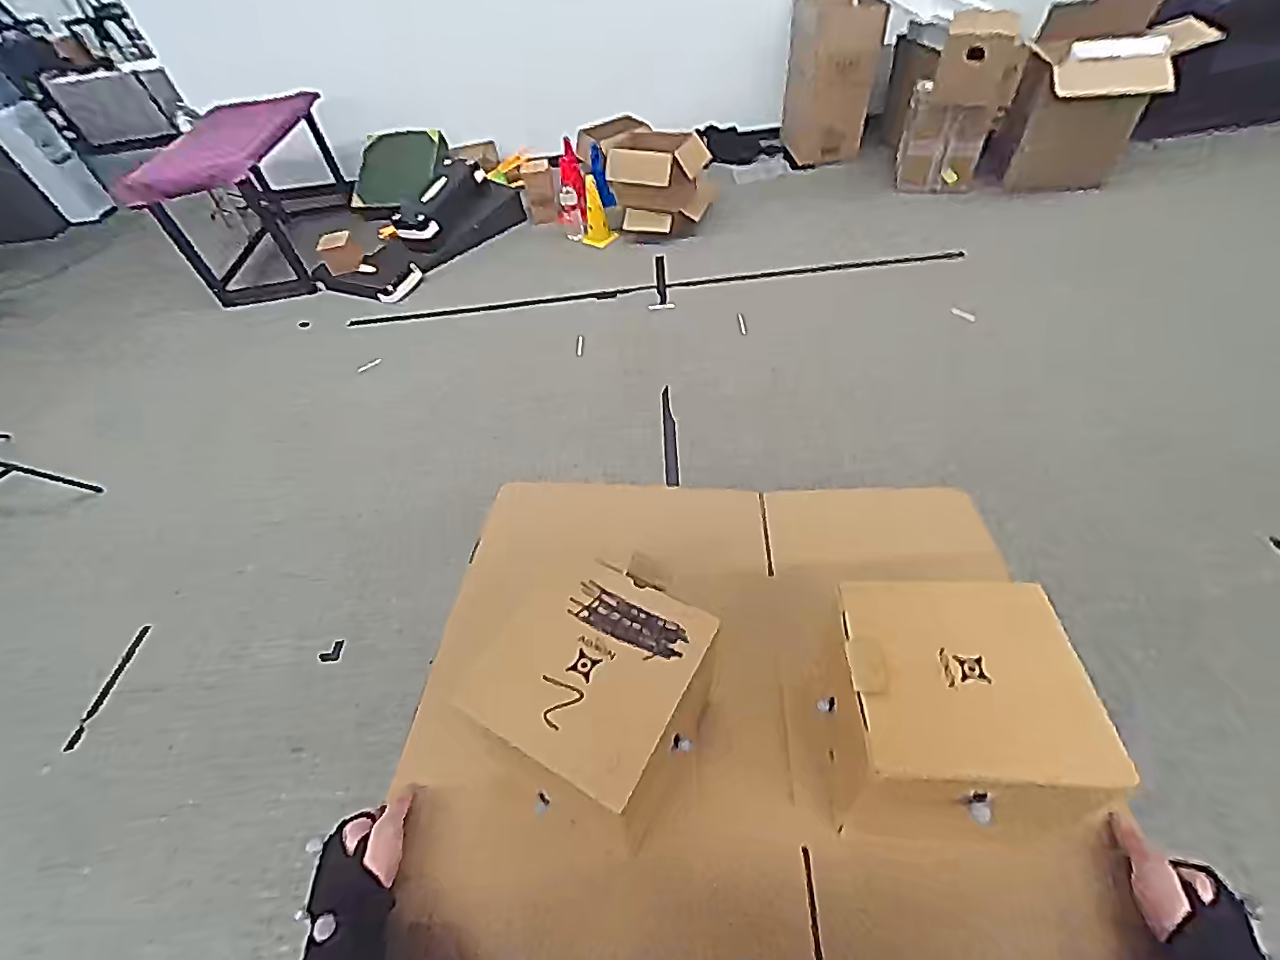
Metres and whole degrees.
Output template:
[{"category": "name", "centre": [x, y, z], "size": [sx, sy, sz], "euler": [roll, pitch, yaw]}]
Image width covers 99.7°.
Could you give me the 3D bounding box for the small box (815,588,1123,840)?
[{"category": "small box", "centre": [0.272, 0.217, 0.503], "size": [0.179, 0.176, 0.168], "euler": [-2, 44, 8]}]
